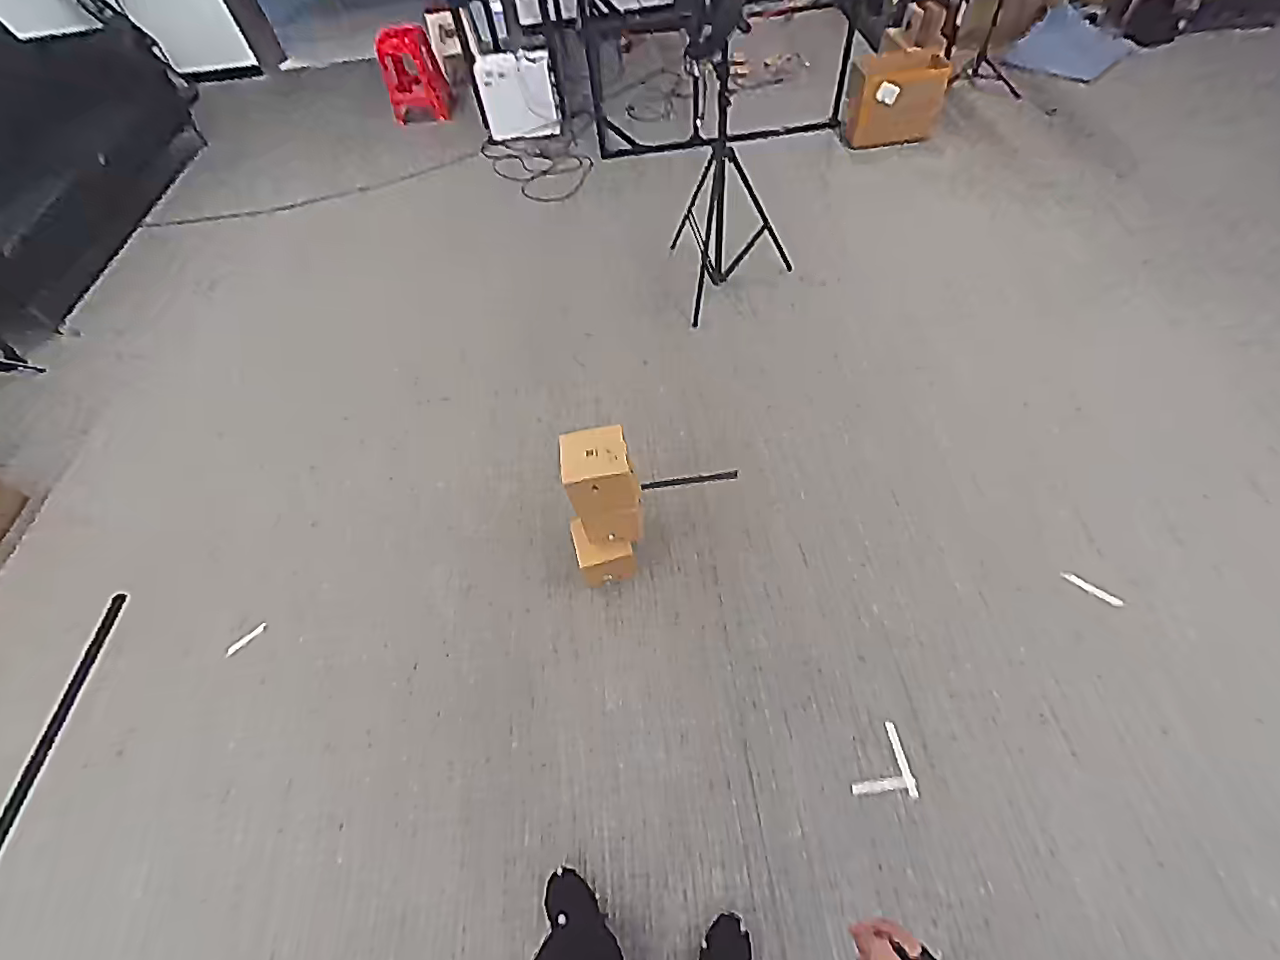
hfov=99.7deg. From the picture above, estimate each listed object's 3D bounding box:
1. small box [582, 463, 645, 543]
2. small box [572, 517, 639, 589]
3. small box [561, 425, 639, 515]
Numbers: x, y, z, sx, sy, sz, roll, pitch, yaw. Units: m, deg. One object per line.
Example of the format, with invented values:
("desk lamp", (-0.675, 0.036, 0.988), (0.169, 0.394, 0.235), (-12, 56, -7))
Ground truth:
("small box", (-0.076, 0.071, 1.606), (0.168, 0.176, 0.179), (-4, 55, 5))
("small box", (-0.107, 0.218, 1.707), (0.168, 0.176, 0.179), (-16, 55, -3))
("small box", (-0.108, -0.021, 1.473), (0.179, 0.176, 0.168), (-10, 54, 1))
